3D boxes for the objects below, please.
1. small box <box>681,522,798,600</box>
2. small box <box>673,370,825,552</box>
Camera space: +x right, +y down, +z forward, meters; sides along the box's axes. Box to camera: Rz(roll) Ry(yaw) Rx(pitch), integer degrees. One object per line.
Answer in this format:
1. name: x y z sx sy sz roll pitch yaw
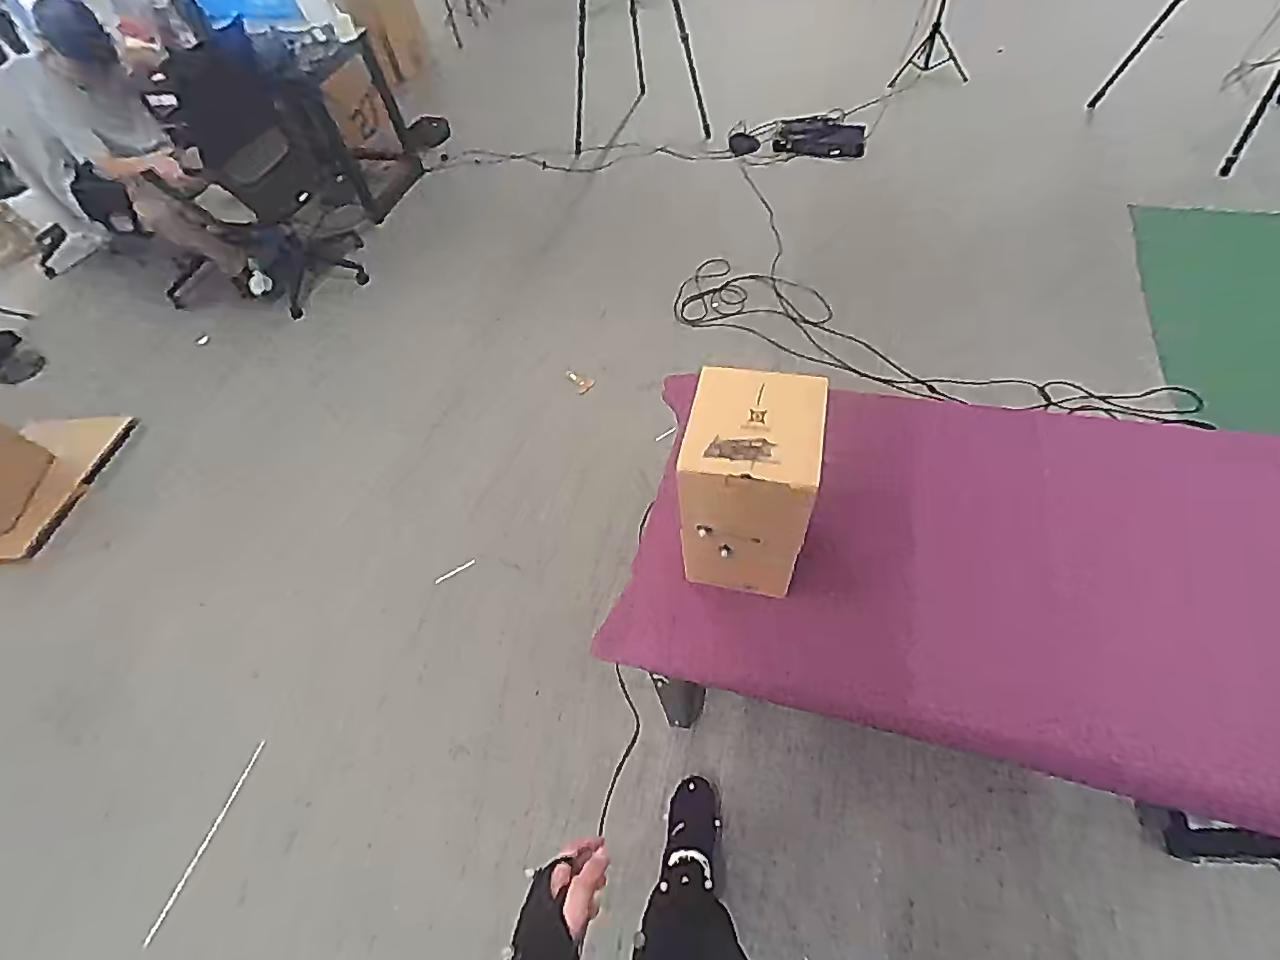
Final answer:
1. small box: 0.166 0.069 0.867 0.168 0.176 0.179 8 57 14
2. small box: 0.148 -0.023 0.731 0.168 0.176 0.179 8 57 13
